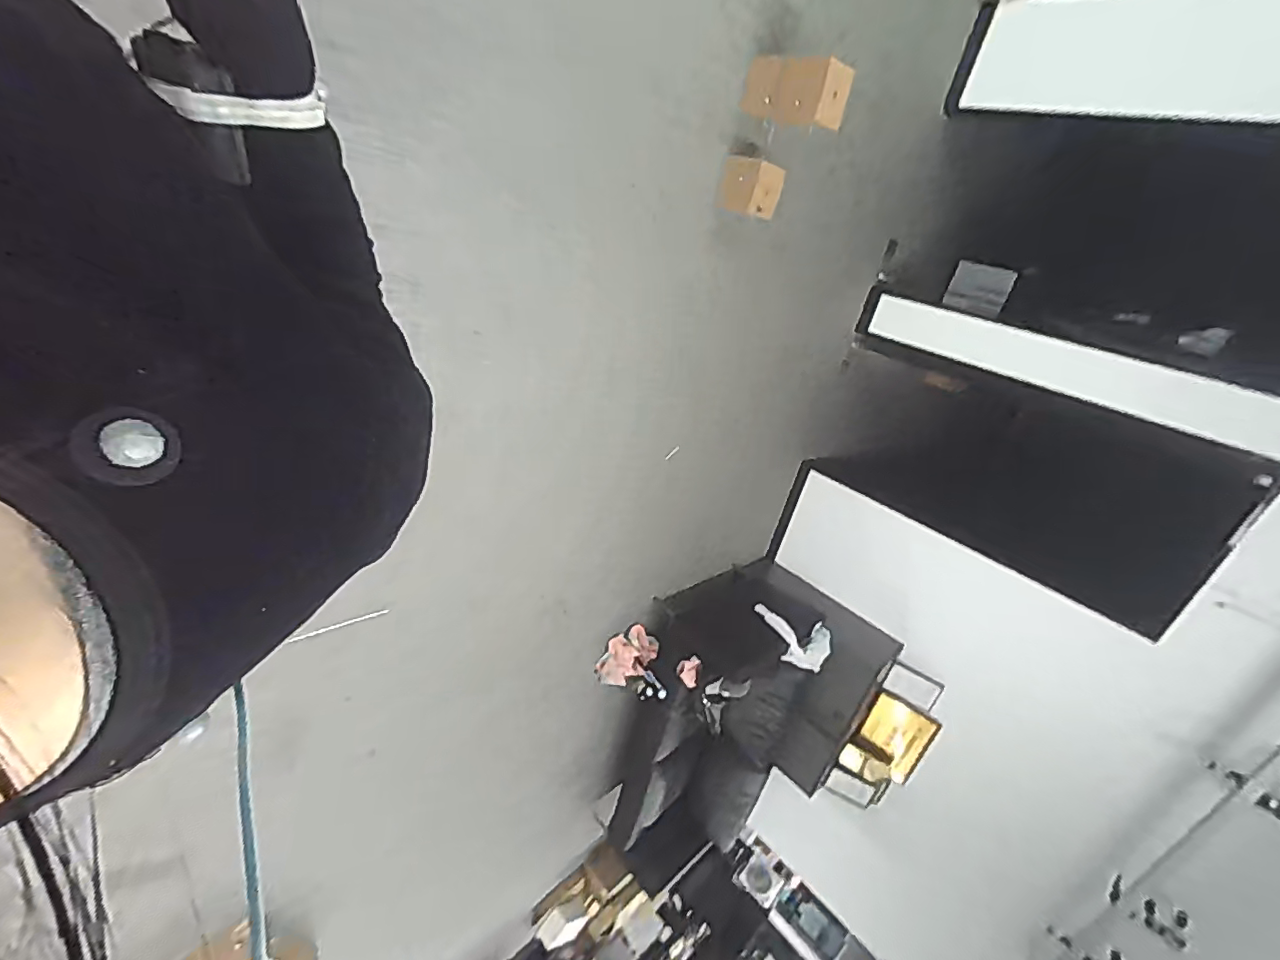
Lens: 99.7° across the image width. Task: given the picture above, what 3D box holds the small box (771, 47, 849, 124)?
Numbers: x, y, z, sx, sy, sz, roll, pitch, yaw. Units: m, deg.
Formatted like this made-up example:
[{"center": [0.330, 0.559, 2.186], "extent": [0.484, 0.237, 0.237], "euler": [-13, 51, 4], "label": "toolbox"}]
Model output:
[{"center": [0.566, -1.324, 1.822], "extent": [0.168, 0.176, 0.179], "euler": [-16, 126, -42], "label": "small box"}]

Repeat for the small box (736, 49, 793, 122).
[{"center": [0.464, -1.399, 1.925], "extent": [0.168, 0.176, 0.179], "euler": [-16, 126, -42], "label": "small box"}]
